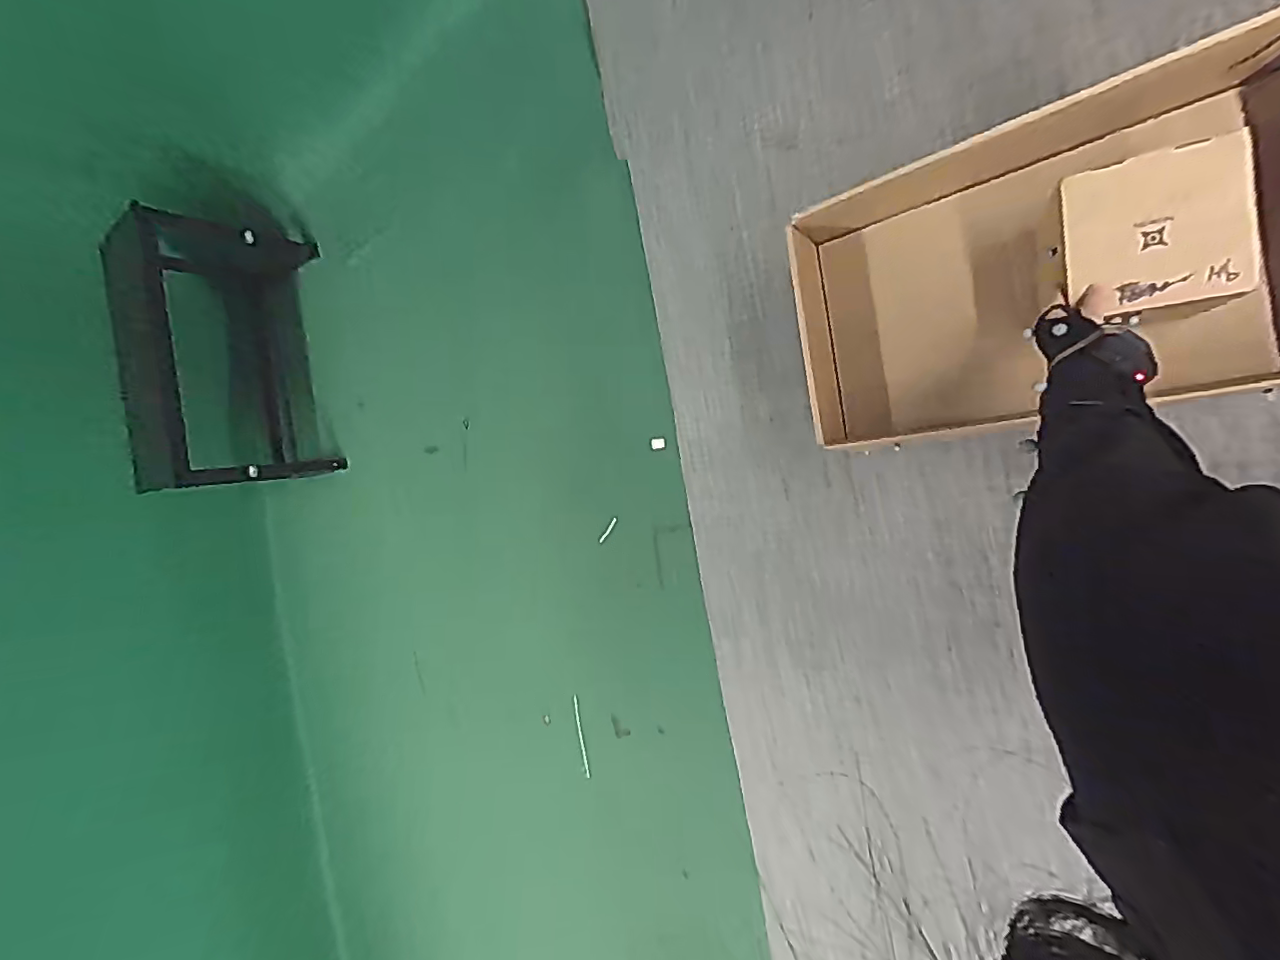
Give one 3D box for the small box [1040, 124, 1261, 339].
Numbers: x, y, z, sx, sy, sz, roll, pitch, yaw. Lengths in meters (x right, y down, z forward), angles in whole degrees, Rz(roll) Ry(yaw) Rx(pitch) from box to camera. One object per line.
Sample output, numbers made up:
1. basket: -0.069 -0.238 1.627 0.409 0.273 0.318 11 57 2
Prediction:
1. small box: 0.620 -0.291 0.681 0.168 0.176 0.179 -5 91 30
